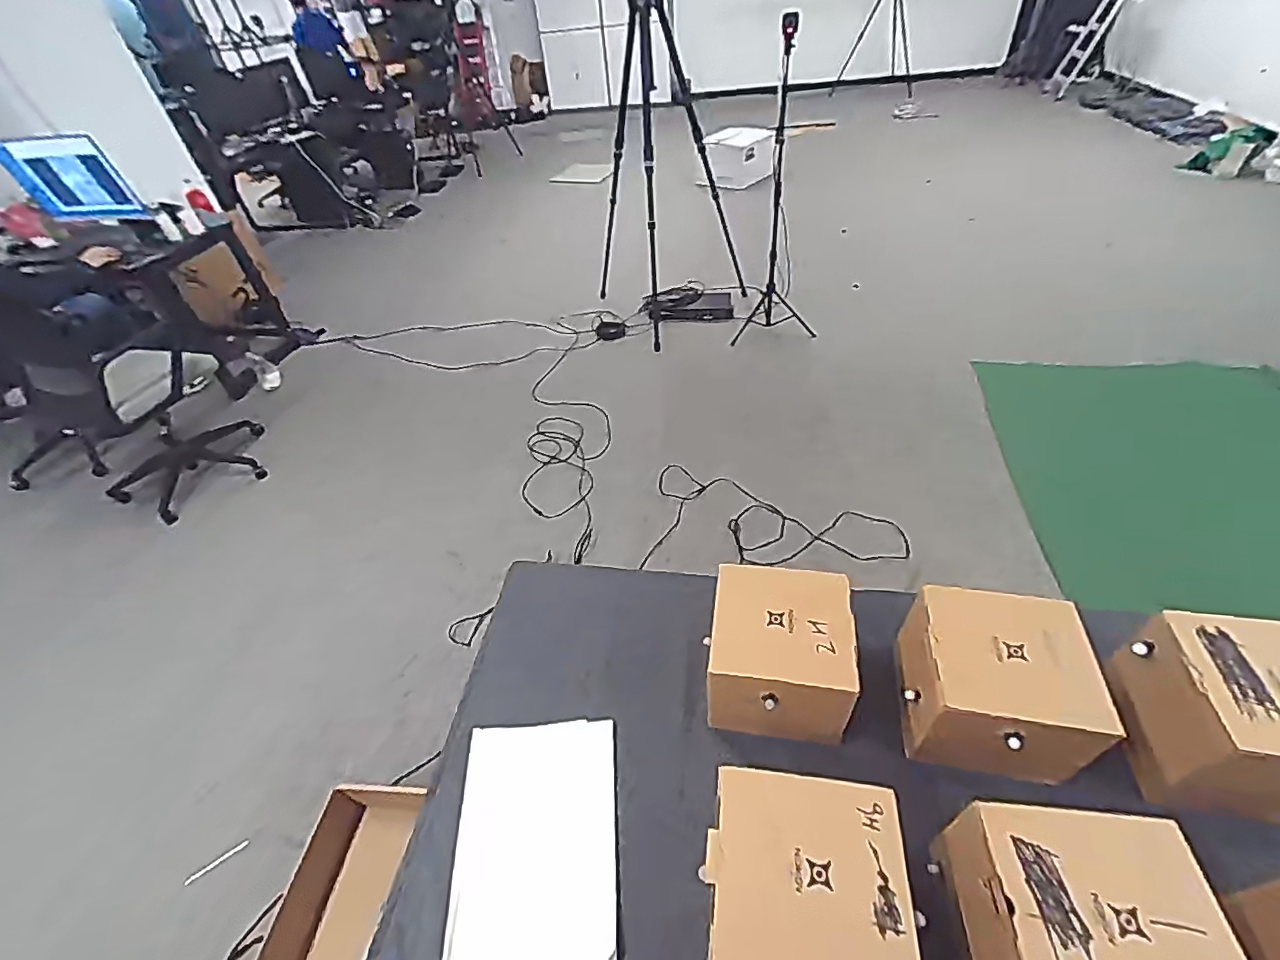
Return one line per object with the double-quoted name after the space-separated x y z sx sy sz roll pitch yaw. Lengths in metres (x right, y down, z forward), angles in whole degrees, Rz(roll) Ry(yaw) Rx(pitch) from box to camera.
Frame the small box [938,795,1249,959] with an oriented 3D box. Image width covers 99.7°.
0.404 0.421 0.508 0.179 0.176 0.168 1 44 8 "small box"
